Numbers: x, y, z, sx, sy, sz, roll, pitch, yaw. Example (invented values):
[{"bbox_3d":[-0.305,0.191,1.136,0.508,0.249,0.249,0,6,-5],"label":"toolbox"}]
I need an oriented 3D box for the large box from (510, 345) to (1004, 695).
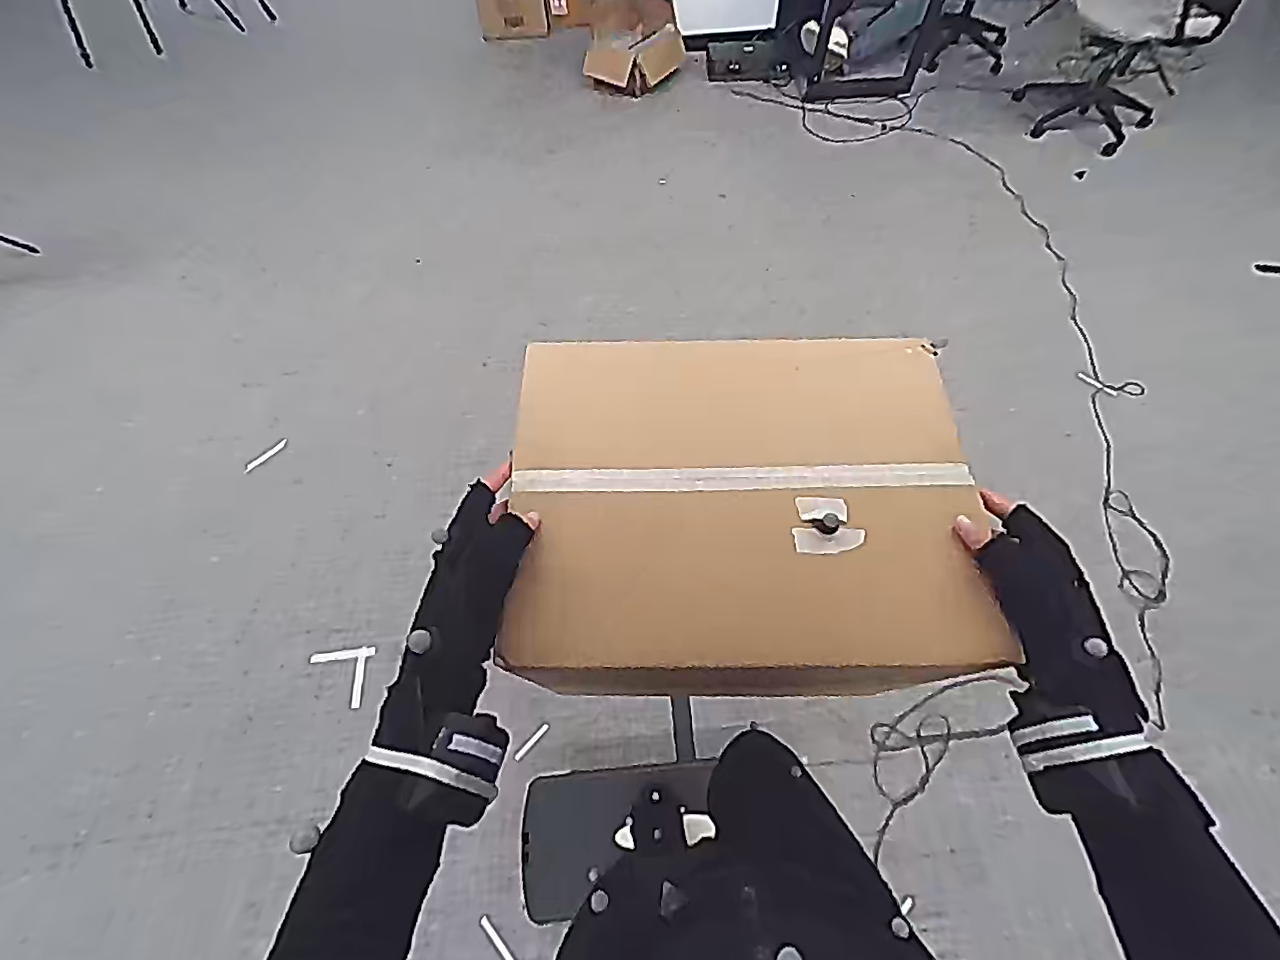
[{"bbox_3d":[0.089,0.068,0.625,0.408,0.320,0.320,-1,65,0],"label":"large box"}]
